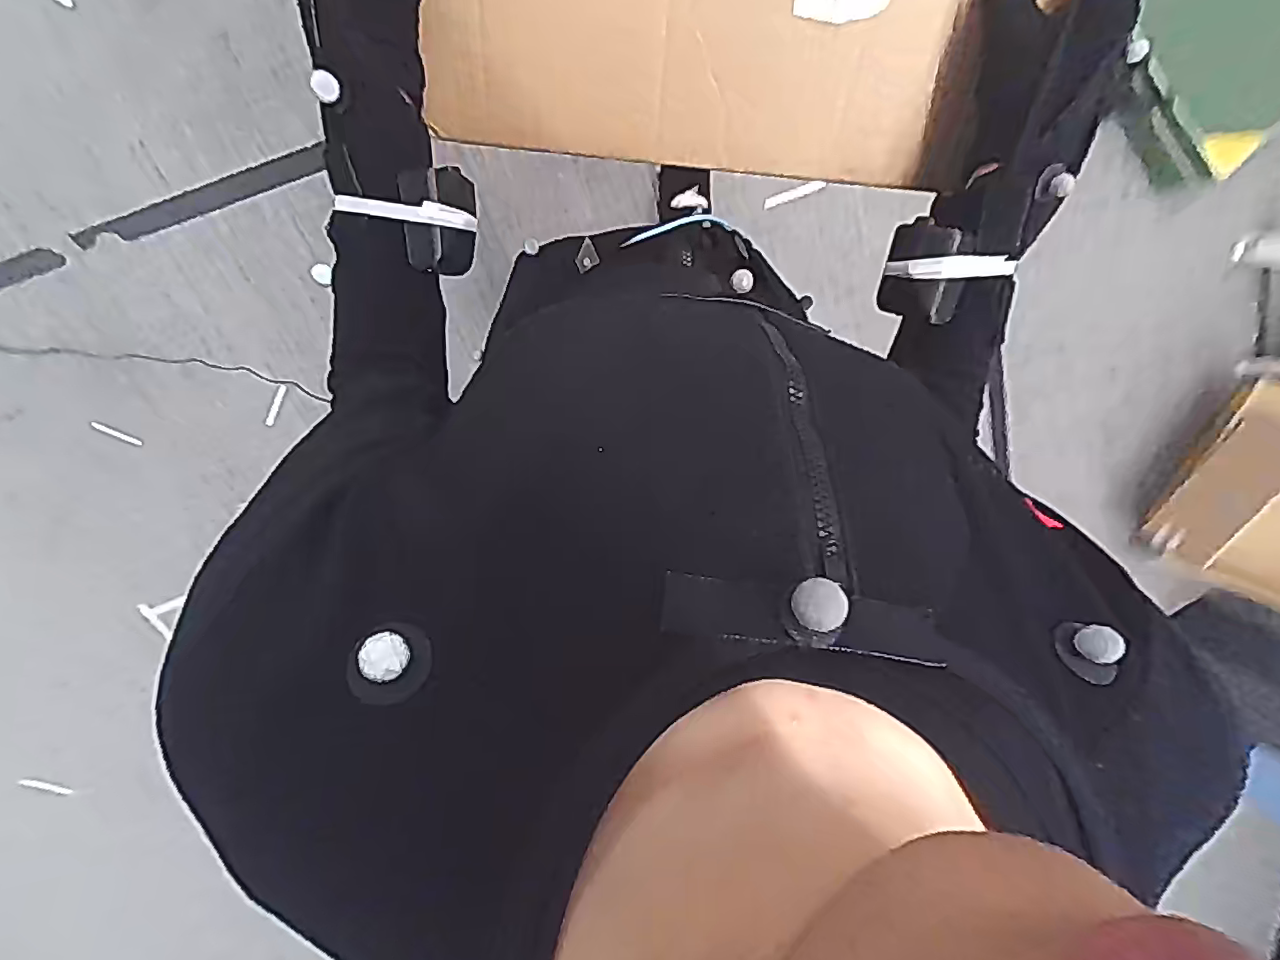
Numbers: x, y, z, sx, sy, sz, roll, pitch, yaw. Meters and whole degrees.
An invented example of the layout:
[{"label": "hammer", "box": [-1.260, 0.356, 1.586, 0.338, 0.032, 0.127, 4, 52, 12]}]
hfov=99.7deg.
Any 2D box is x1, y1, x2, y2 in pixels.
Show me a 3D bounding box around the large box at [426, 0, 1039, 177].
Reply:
[{"label": "large box", "box": [0.063, -0.454, 0.421, 0.408, 0.320, 0.320, 4, 131, -3]}]
